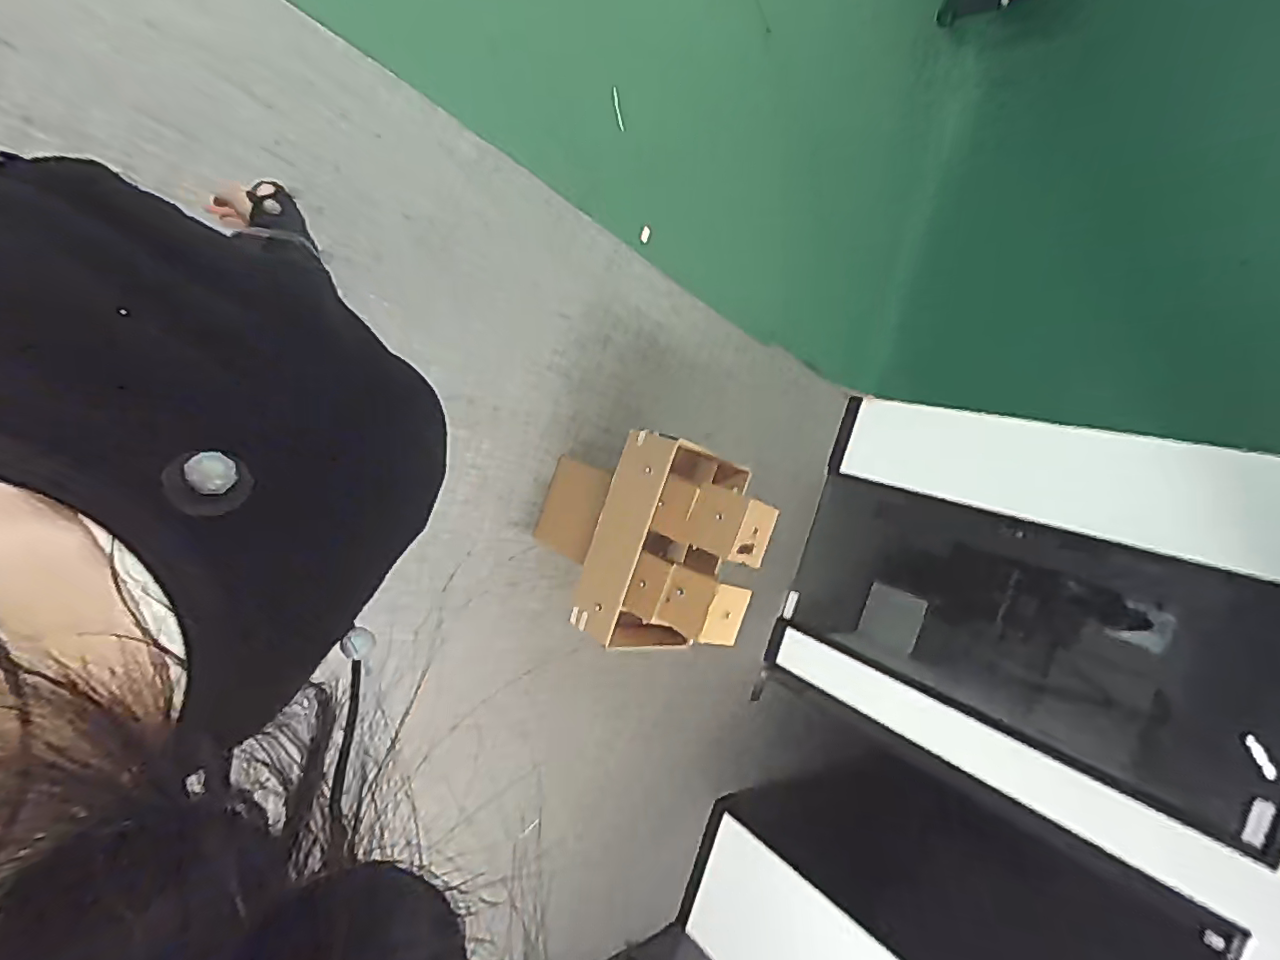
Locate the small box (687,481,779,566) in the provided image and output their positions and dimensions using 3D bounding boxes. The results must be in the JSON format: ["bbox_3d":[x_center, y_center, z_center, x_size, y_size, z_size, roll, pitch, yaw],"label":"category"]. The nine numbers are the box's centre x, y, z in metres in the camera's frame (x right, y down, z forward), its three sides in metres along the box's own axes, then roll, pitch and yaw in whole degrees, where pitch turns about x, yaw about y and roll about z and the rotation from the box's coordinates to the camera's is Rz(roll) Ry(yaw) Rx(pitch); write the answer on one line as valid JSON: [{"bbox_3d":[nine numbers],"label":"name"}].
[{"bbox_3d":[0.255,0.119,1.513,0.168,0.176,0.179,22,88,-46],"label":"small box"}]

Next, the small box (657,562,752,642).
[{"bbox_3d":[0.181,0.343,1.528,0.179,0.176,0.168,21,89,-46],"label":"small box"}]

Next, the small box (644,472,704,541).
[{"bbox_3d":[0.145,0.083,1.630,0.179,0.176,0.168,12,96,-45],"label":"small box"}]
